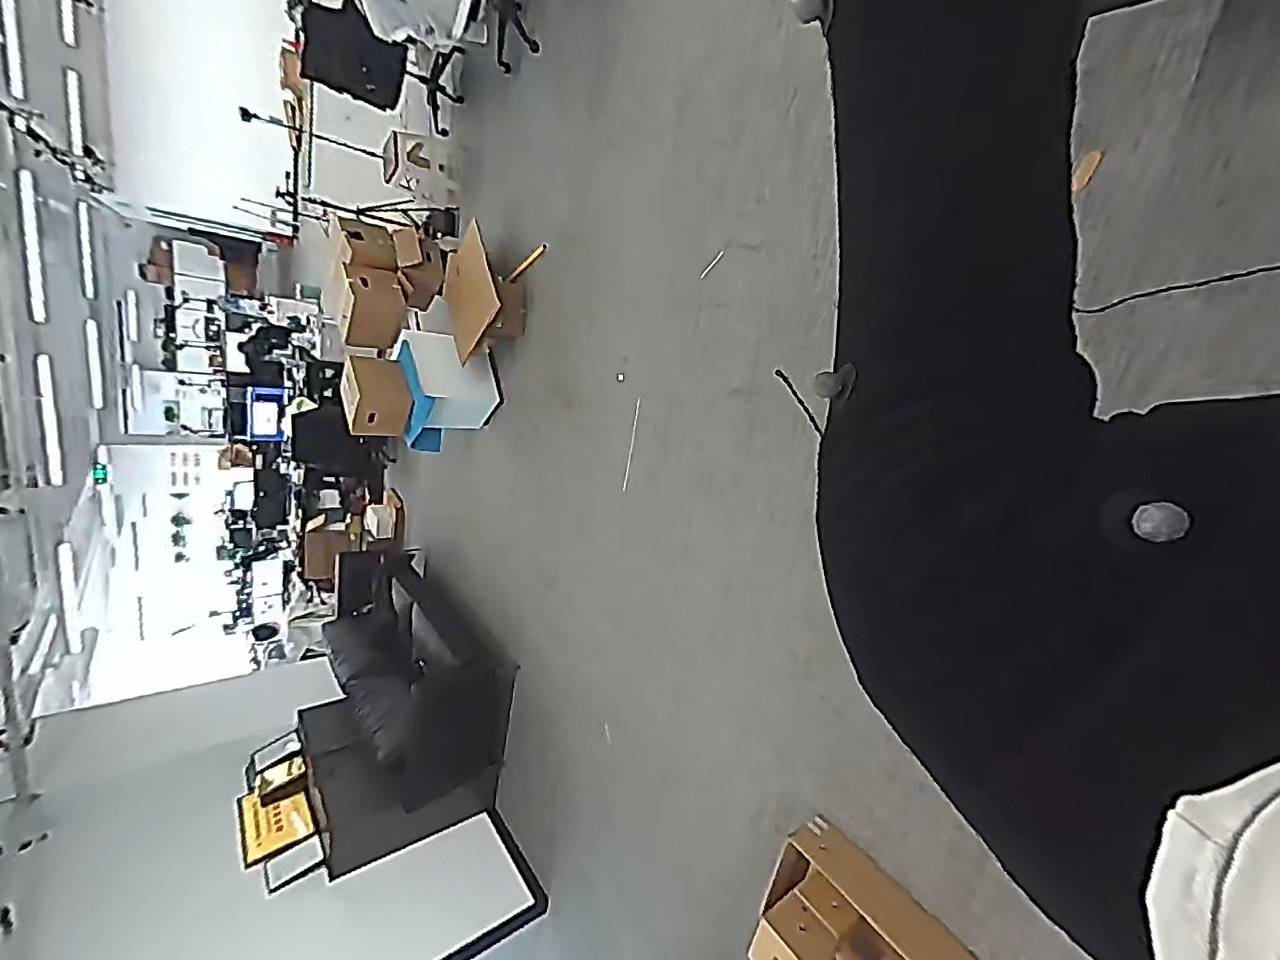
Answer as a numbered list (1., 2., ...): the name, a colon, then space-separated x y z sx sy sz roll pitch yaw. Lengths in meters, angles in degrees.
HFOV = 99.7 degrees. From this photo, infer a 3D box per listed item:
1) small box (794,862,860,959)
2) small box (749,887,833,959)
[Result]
1. small box: 0.603 1.428 1.794 0.168 0.176 0.179 30 114 45
2. small box: 0.474 1.435 1.689 0.168 0.176 0.179 31 115 45
